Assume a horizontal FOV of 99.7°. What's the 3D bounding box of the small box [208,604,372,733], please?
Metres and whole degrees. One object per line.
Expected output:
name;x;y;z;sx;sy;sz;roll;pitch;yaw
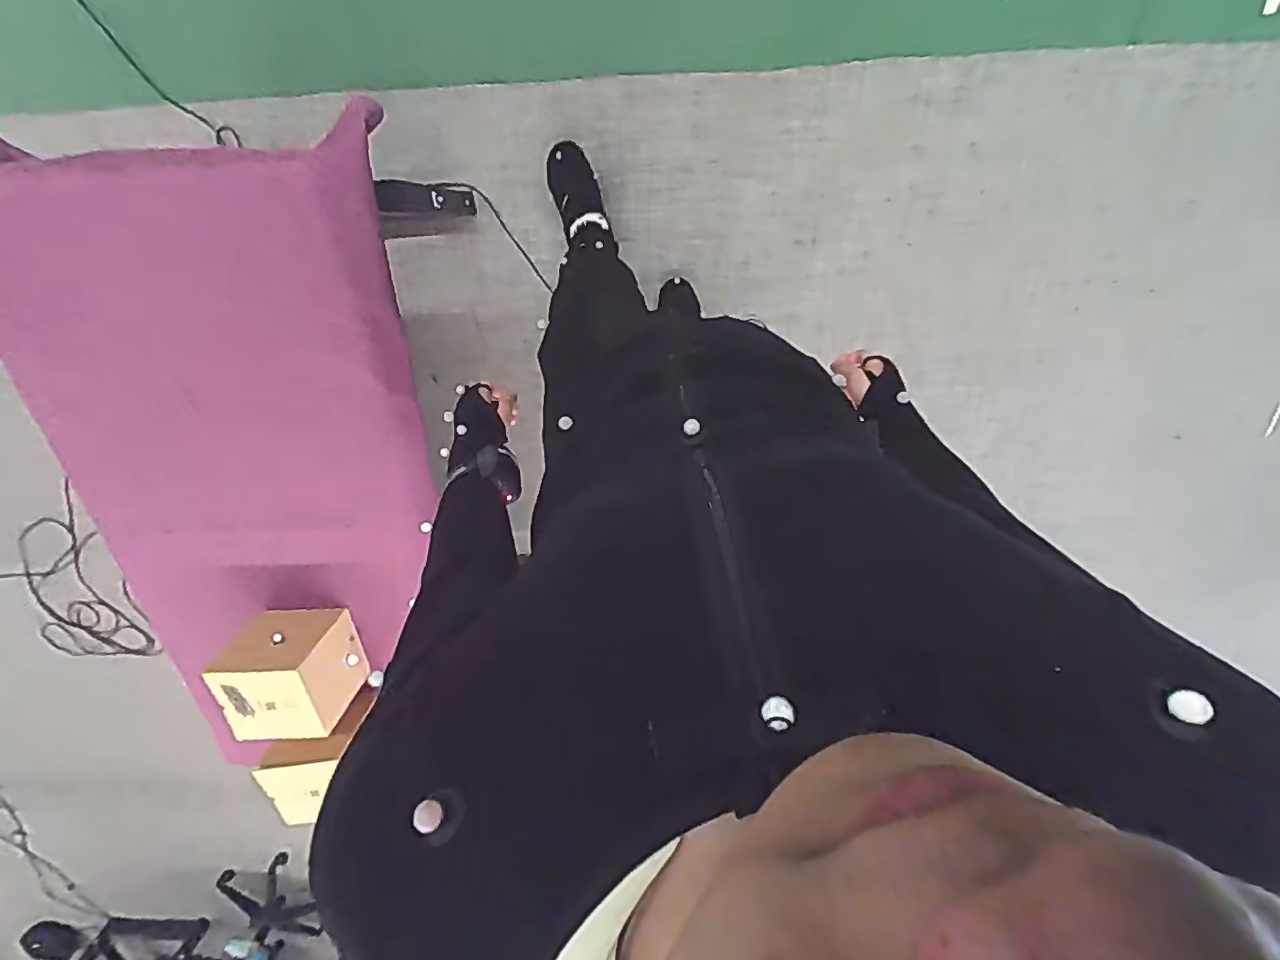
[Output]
small box;-0.651;0.354;1.031;0.179;0.176;0.168;-3;116;4

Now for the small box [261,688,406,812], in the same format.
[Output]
small box;-0.626;0.558;1.128;0.179;0.176;0.168;-7;116;6
